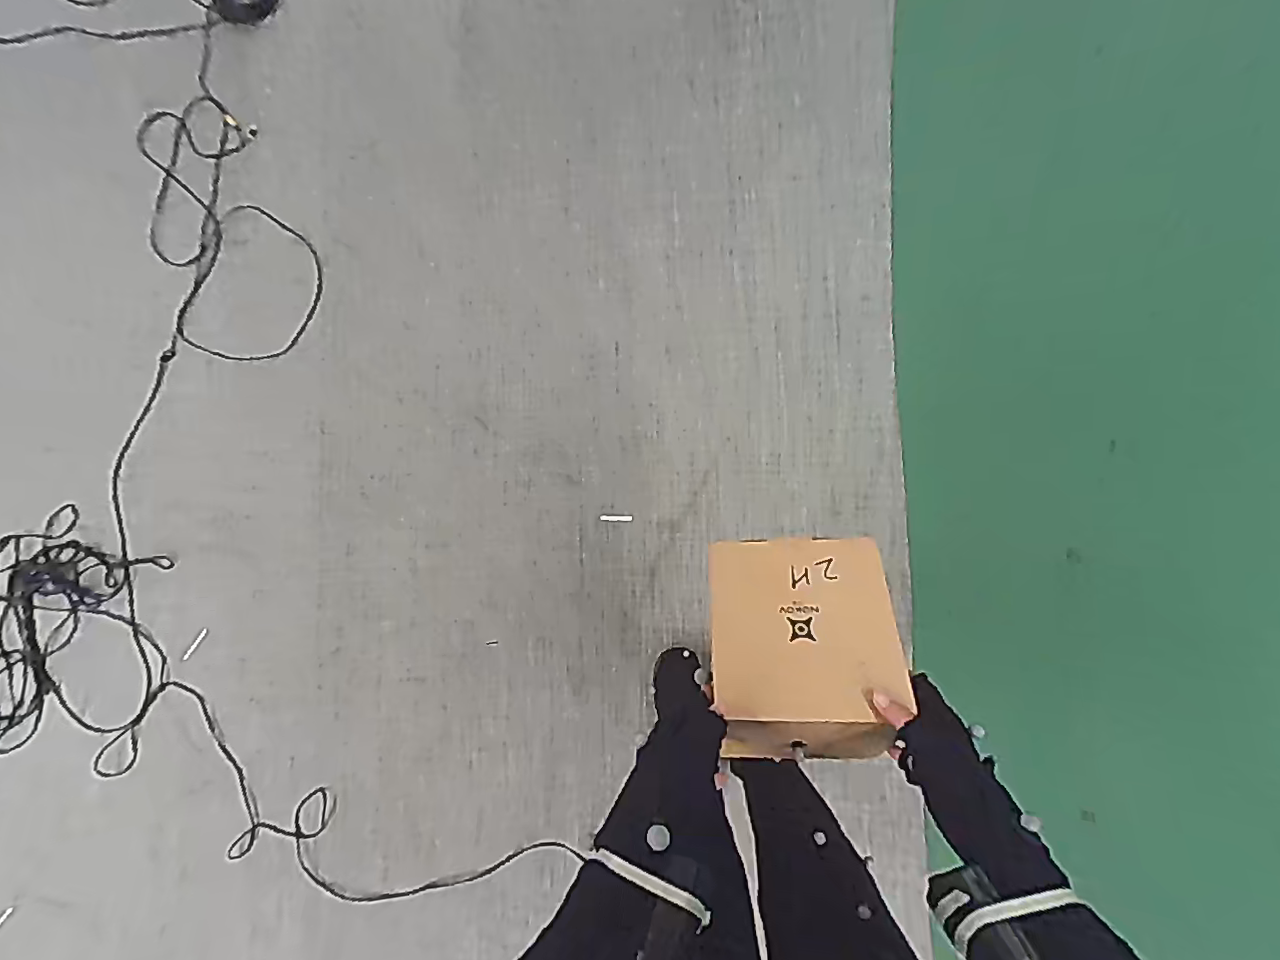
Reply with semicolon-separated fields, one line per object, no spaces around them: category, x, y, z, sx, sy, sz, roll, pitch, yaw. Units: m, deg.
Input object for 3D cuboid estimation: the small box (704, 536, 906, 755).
small box;0.152;0.175;0.560;0.168;0.176;0.179;-1;52;7
